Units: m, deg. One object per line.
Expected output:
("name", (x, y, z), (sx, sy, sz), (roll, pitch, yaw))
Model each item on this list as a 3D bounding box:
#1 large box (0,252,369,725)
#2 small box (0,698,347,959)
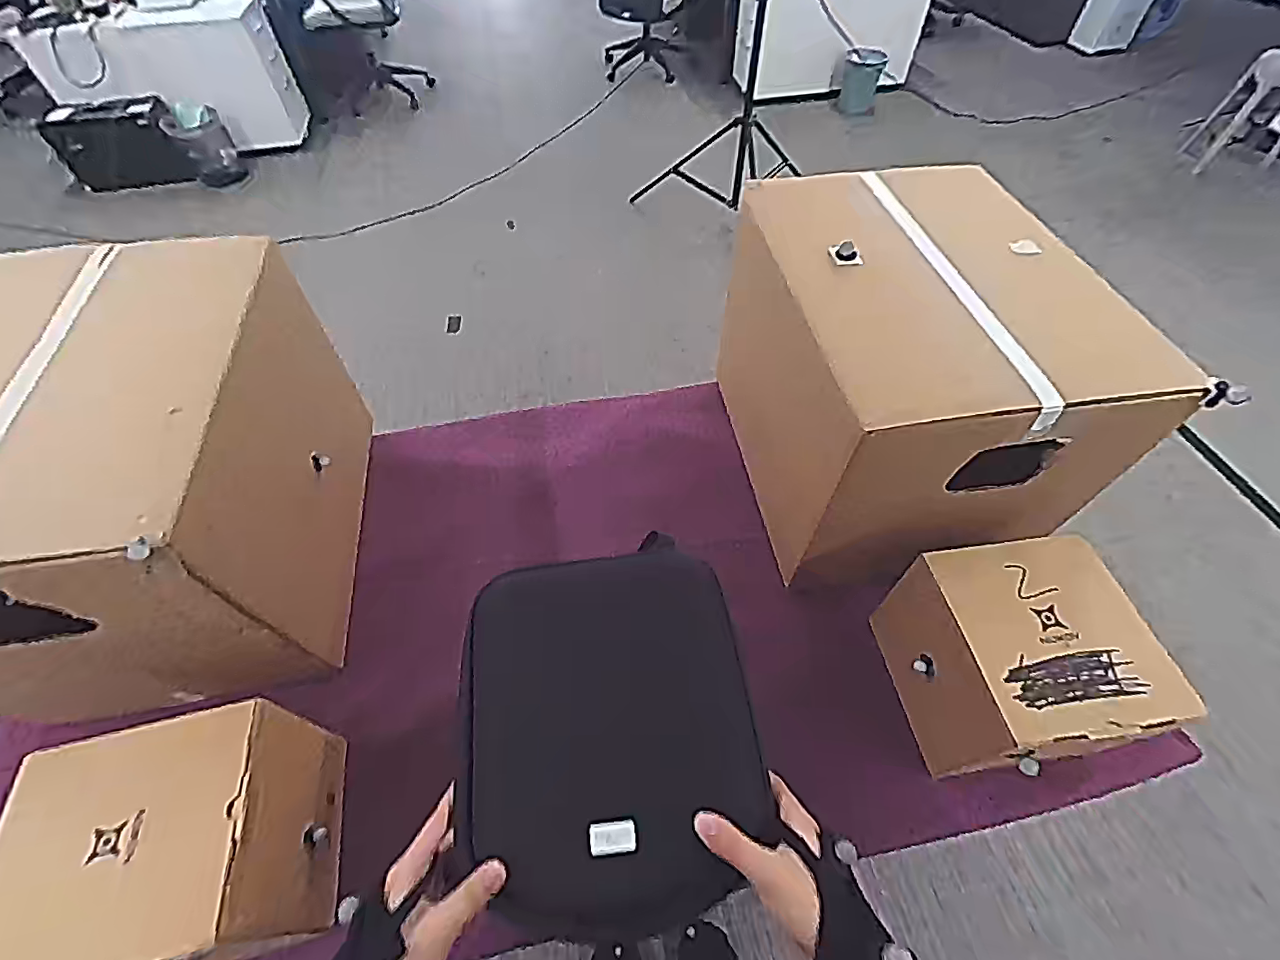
("large box", (-0.525, 0.006, 0.605), (0.320, 0.320, 0.408), (-9, 56, -7))
("small box", (-0.384, 0.315, 0.463), (0.179, 0.176, 0.168), (-12, 53, -9))
